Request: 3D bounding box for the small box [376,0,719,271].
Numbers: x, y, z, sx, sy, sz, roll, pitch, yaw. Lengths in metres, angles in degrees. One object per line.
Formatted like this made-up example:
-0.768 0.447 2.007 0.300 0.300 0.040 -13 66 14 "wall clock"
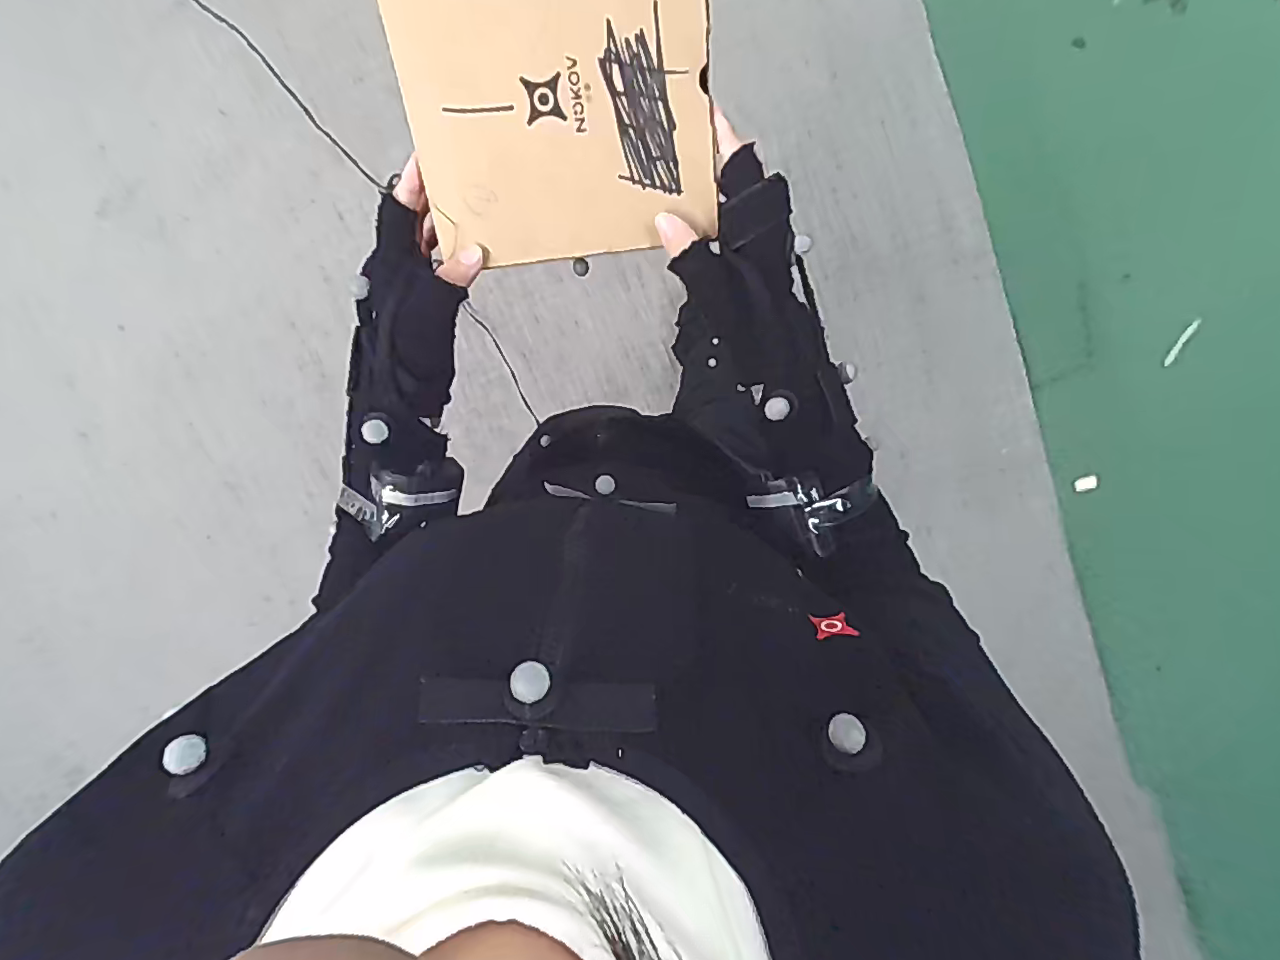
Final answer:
-0.047 -0.249 0.376 0.179 0.176 0.168 -7 115 4 "small box"
